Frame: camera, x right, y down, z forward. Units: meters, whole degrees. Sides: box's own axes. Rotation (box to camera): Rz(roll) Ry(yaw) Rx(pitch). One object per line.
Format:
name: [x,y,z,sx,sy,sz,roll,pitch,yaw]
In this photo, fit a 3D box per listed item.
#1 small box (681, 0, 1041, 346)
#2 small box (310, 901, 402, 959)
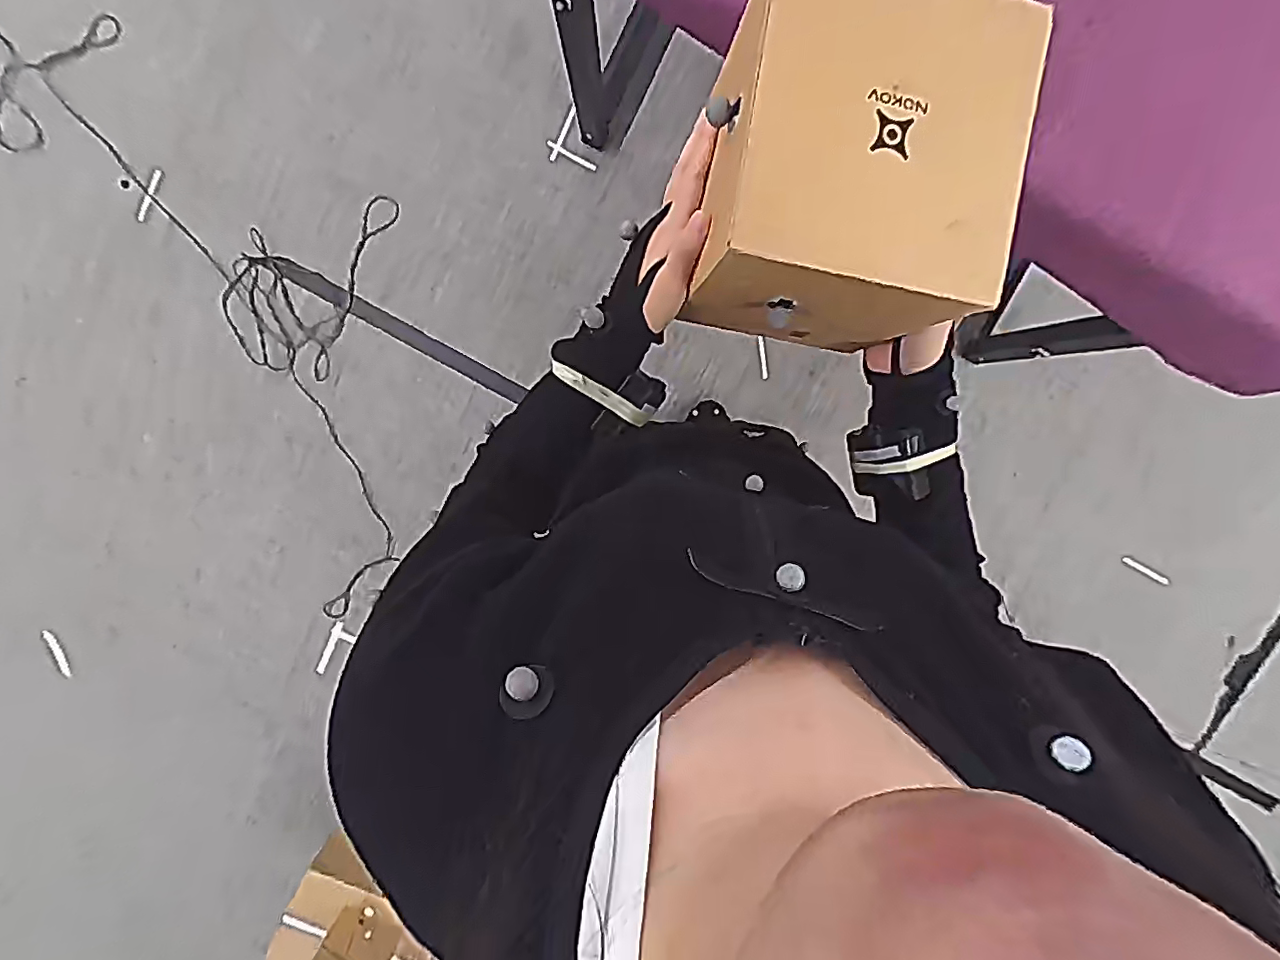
small box: [0.131,-0.205,0.387,0.168,0.176,0.179,8,92,-8]
small box: [-0.703,1.177,1.295,0.168,0.176,0.179,25,97,-4]
